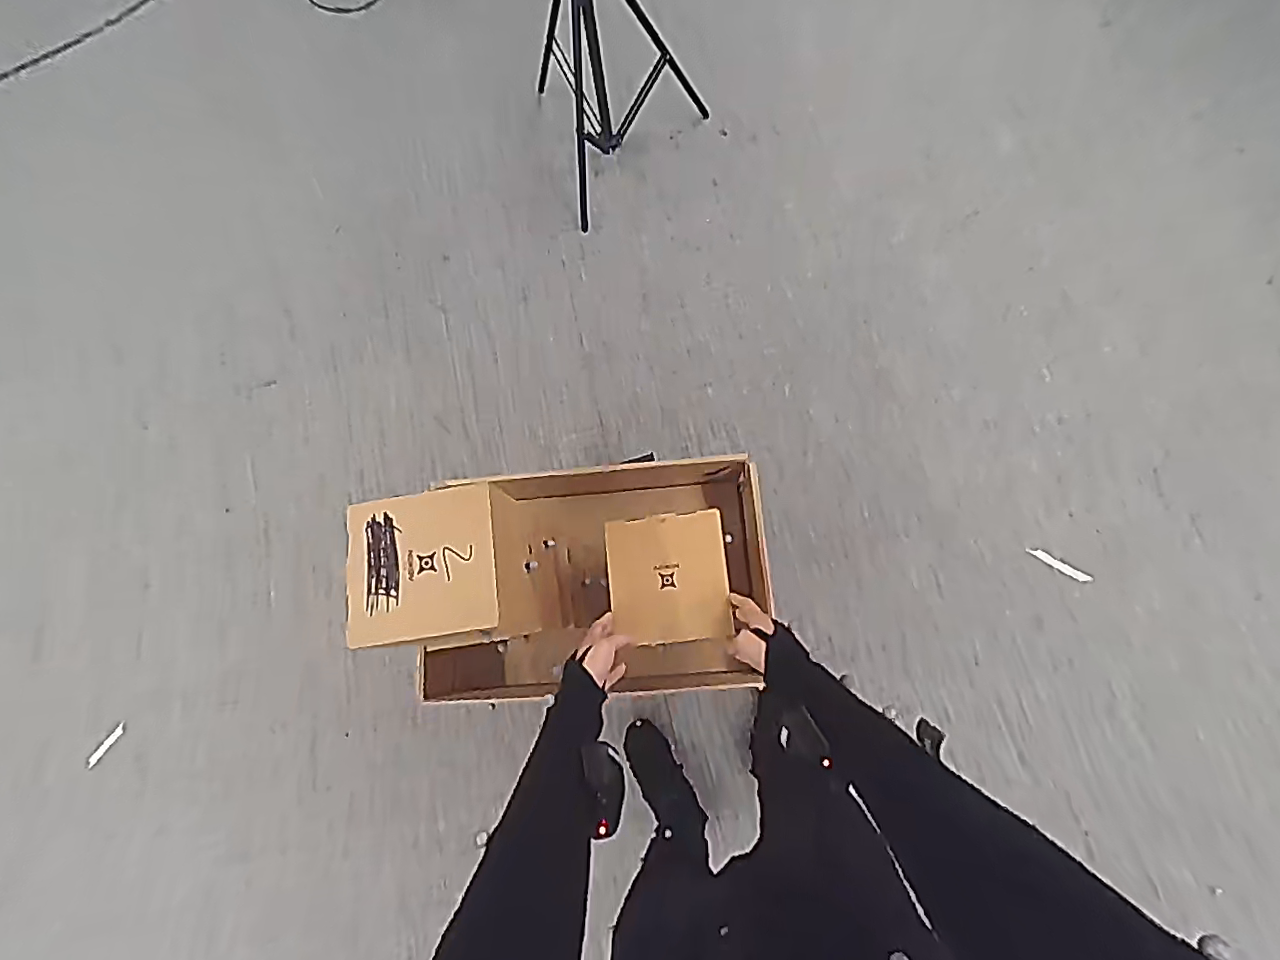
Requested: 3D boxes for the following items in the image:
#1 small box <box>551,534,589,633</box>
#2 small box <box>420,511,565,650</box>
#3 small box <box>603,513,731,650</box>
[{"bbox_3d":[-0.199,0.202,0.999,0.179,0.176,0.168,-8,76,2],"label":"small box"},{"bbox_3d":[-0.222,0.161,0.841,0.168,0.176,0.179,-11,75,4],"label":"small box"},{"bbox_3d":[0.043,0.157,0.822,0.168,0.176,0.179,-7,74,3],"label":"small box"}]
